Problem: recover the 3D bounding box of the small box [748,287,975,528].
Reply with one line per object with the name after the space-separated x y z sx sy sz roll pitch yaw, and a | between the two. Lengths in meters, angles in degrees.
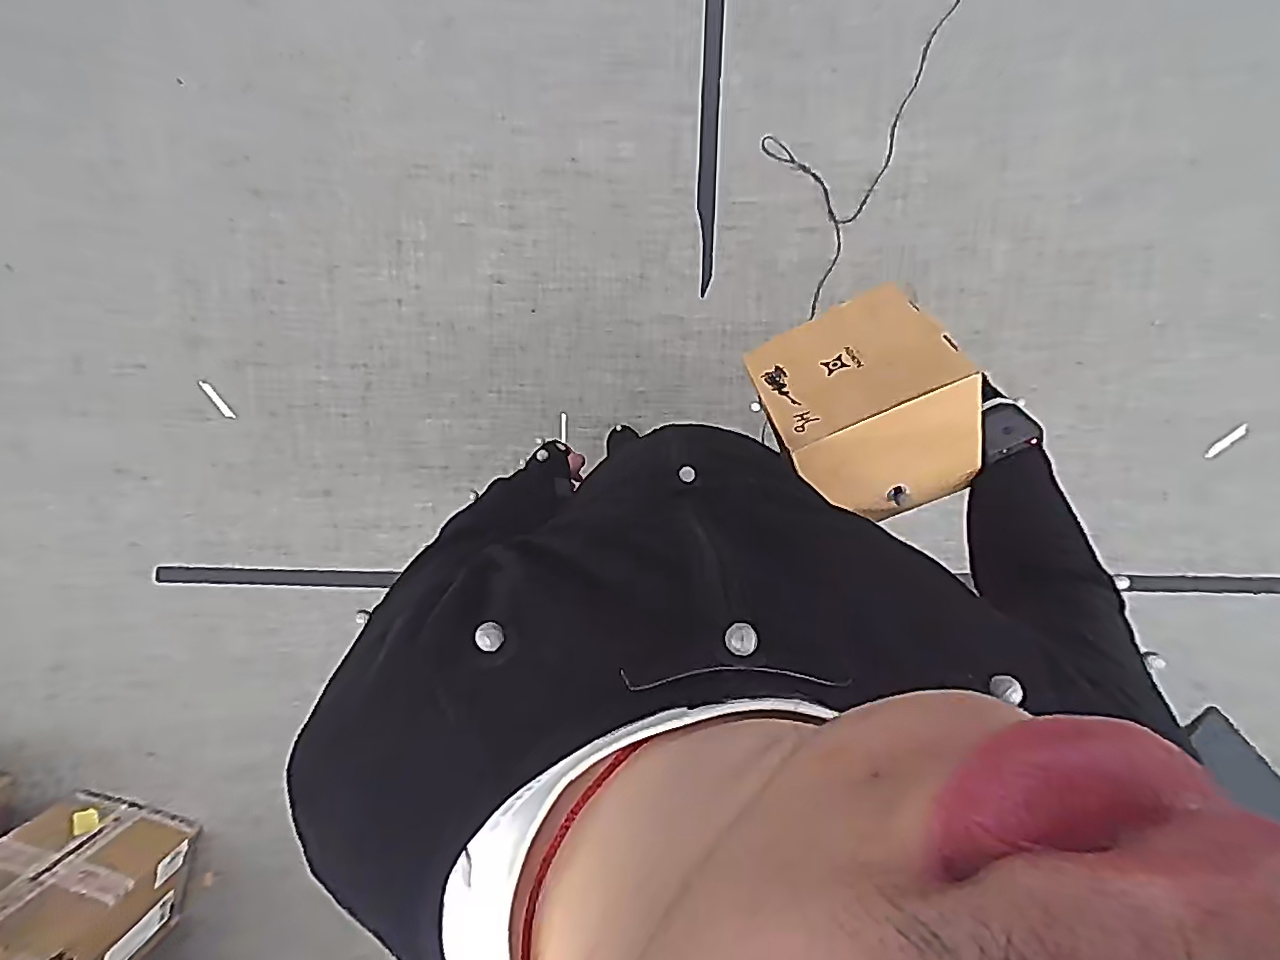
0.245 -0.076 0.612 0.179 0.168 0.176 -24 134 13 | small box
